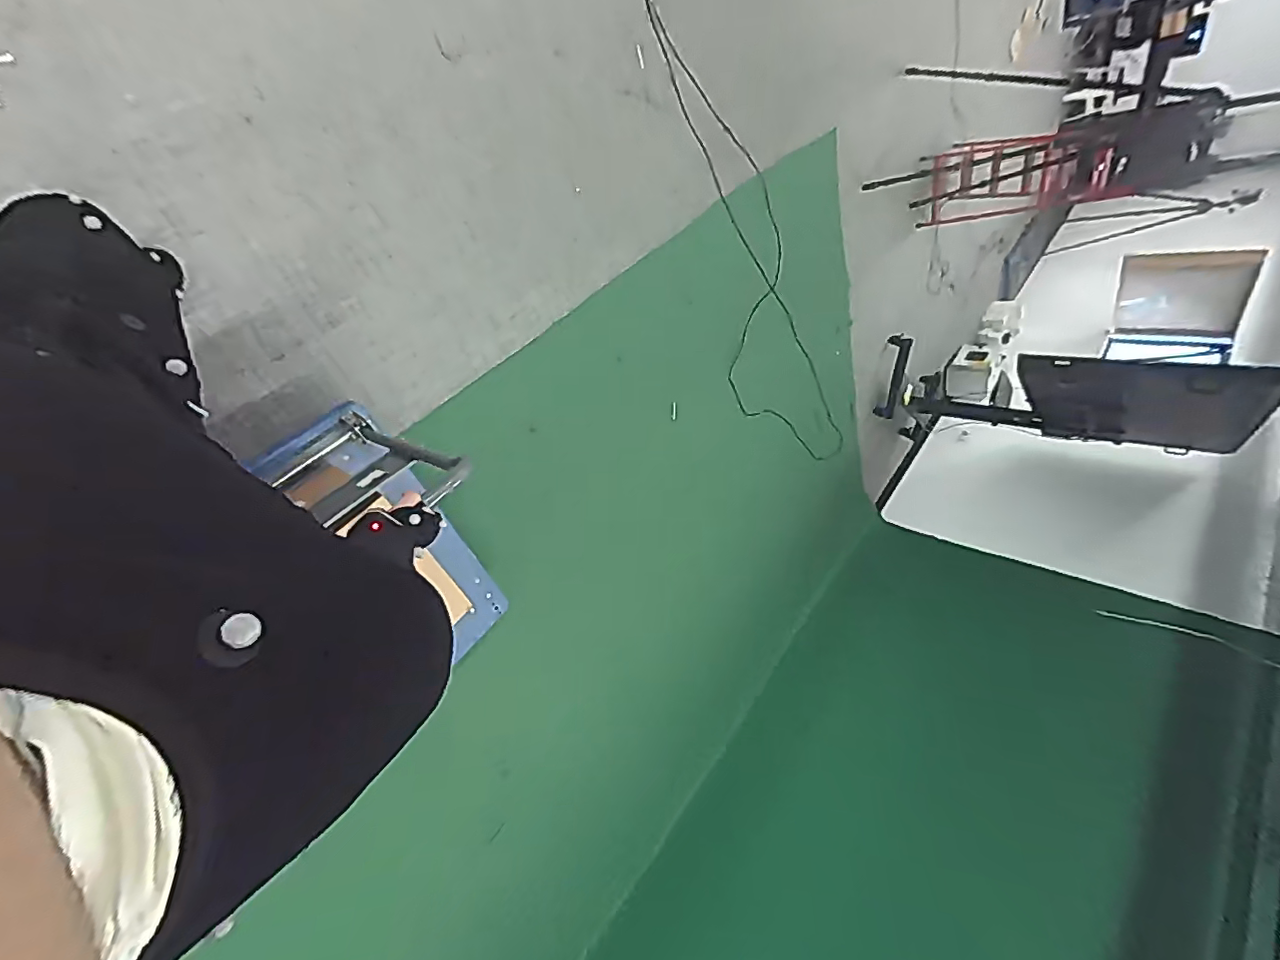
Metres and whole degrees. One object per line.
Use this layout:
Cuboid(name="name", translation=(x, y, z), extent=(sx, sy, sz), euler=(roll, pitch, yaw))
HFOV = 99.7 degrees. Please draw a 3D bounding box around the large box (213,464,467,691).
Cuboid(name="large box", translation=(-0.715, 0.226, 1.321), extent=(0.320, 0.320, 0.408), euler=(-46, 133, -27))
